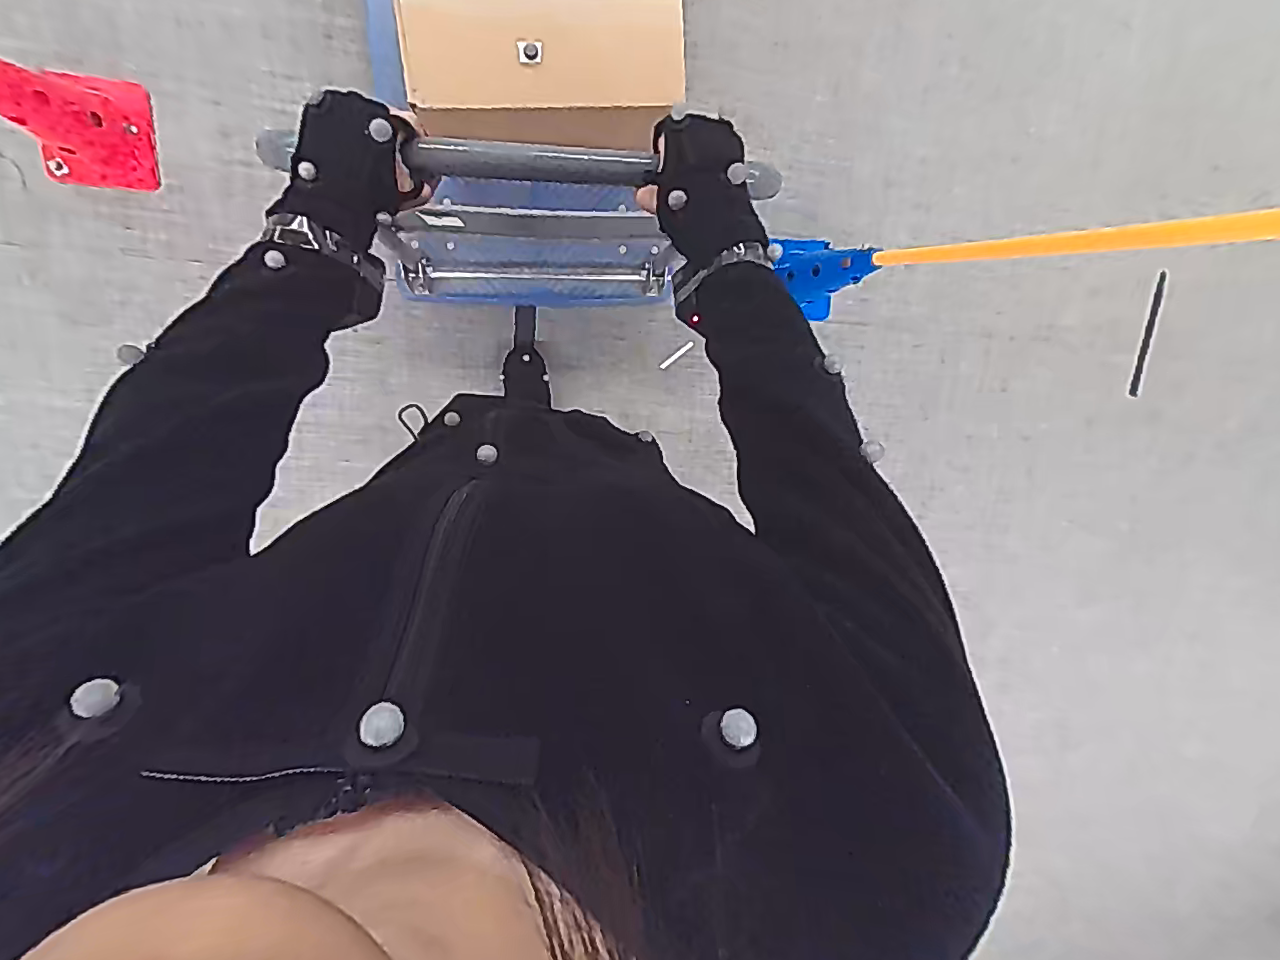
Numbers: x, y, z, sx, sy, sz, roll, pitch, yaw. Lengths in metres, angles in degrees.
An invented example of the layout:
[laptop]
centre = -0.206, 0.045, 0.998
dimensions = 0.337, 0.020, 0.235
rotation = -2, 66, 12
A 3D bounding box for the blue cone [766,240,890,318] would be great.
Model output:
[blue cone]
centre = 0.446, -0.485, 1.245
dimensions = 0.193, 0.380, 0.192
rotation = -1, 102, -10
